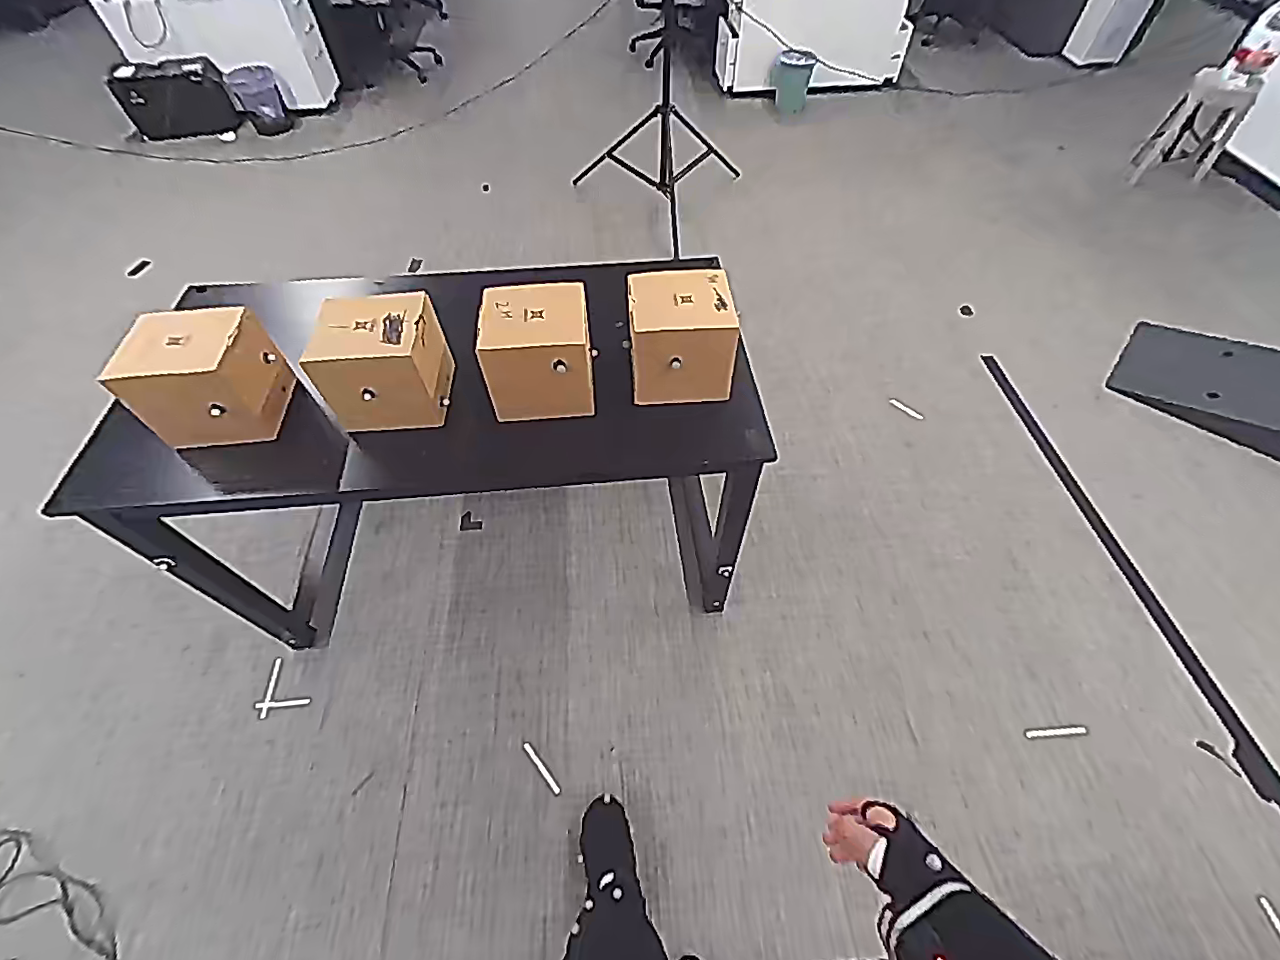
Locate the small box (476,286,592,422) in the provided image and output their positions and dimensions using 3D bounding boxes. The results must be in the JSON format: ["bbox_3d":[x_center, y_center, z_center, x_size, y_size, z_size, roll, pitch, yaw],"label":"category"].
[{"bbox_3d":[-0.177,-0.221,0.964,0.179,0.176,0.168,-5,54,-2],"label":"small box"}]

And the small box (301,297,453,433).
[{"bbox_3d":[-0.446,-0.199,0.953,0.179,0.176,0.168,-4,54,-1],"label":"small box"}]

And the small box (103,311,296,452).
[{"bbox_3d":[-0.739,-0.167,0.937,0.179,0.176,0.168,-7,54,-3],"label":"small box"}]

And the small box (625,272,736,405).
[{"bbox_3d":[0.069,-0.251,0.982,0.179,0.176,0.168,-5,54,0],"label":"small box"}]
